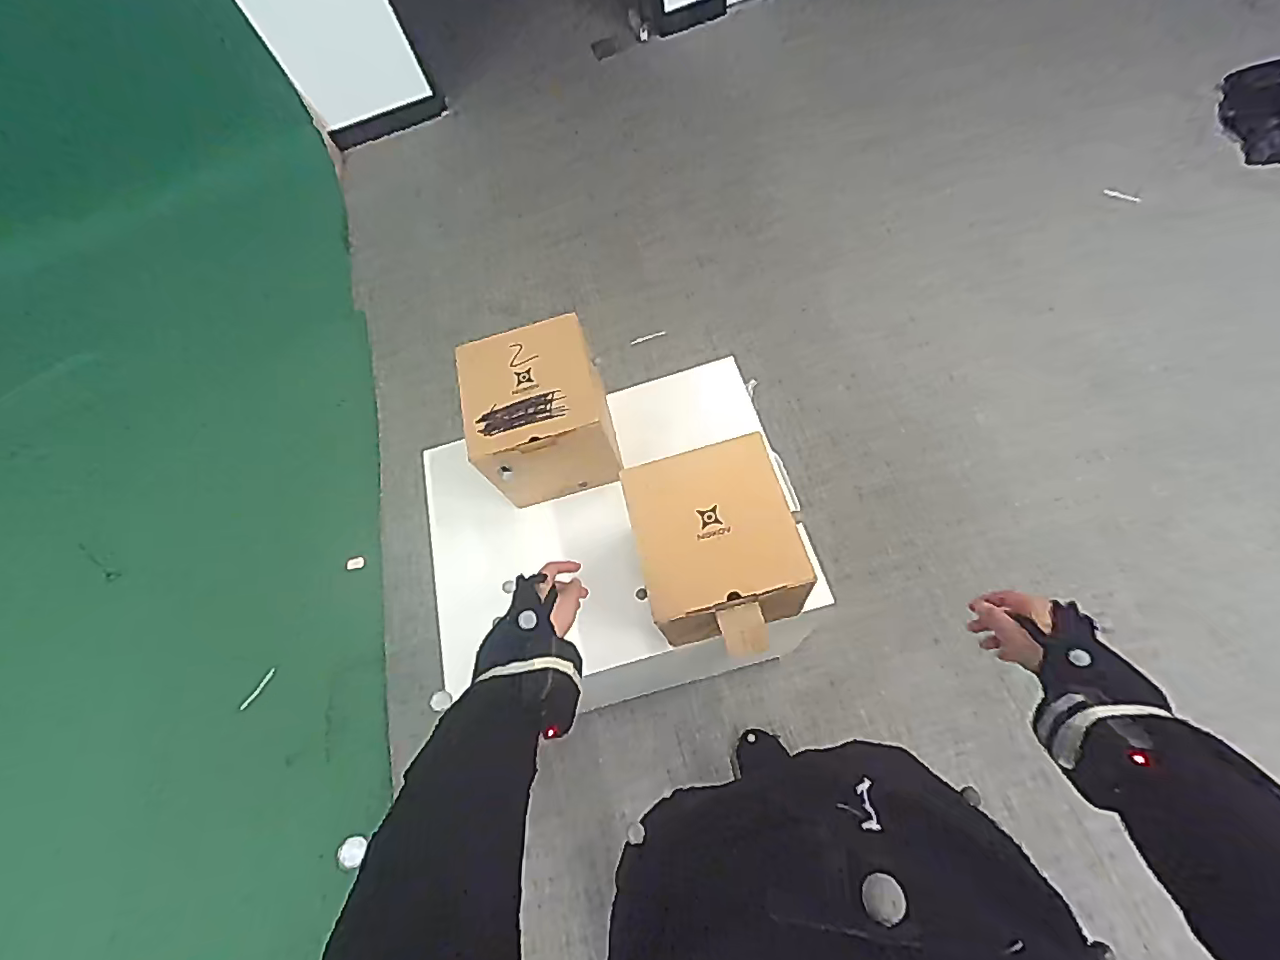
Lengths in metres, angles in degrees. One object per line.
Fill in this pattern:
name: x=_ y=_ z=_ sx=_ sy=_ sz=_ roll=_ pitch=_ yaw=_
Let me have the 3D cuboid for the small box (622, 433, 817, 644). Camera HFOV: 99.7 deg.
small box: x=0.086 y=0.076 z=0.631 sx=0.168 sy=0.176 sz=0.179 roll=-16 pitch=64 yaw=2
